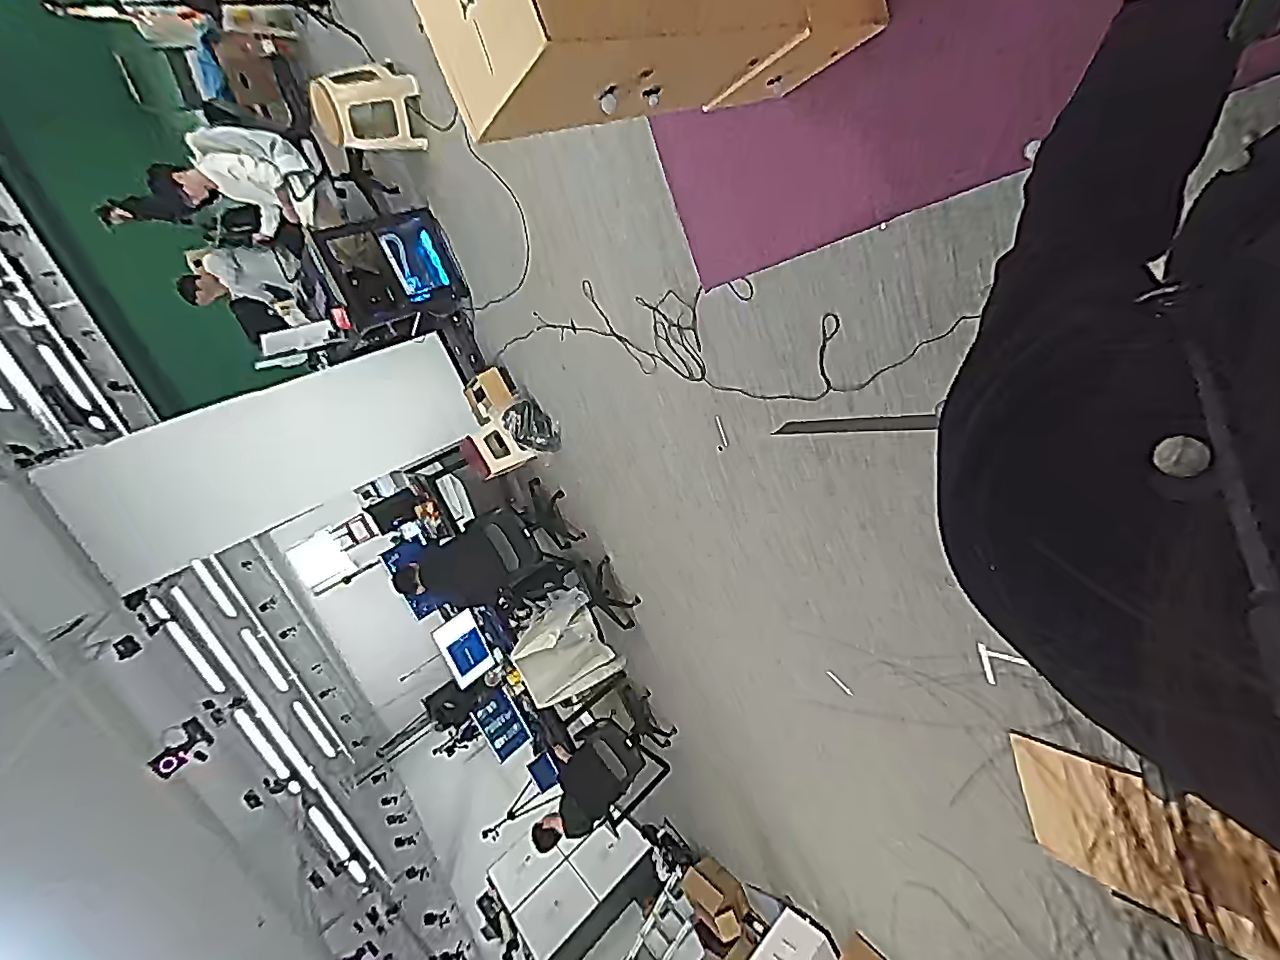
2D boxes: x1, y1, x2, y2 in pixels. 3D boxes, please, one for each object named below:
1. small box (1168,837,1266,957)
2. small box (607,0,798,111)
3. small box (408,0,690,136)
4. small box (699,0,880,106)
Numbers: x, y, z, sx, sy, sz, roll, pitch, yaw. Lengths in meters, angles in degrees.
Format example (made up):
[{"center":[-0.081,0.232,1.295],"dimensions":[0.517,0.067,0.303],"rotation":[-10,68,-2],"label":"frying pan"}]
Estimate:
[{"center":[1.637,1.170,1.534],"dimensions":[0.168,0.176,0.179],"rotation":[4,121,57],"label":"small box"},{"center":[0.031,-0.513,0.551],"dimensions":[0.168,0.176,0.179],"rotation":[5,120,55],"label":"small box"},{"center":[-0.087,-0.435,0.466],"dimensions":[0.168,0.176,0.179],"rotation":[6,122,54],"label":"small box"},{"center":[0.154,-0.583,0.634],"dimensions":[0.168,0.176,0.179],"rotation":[5,122,54],"label":"small box"}]
